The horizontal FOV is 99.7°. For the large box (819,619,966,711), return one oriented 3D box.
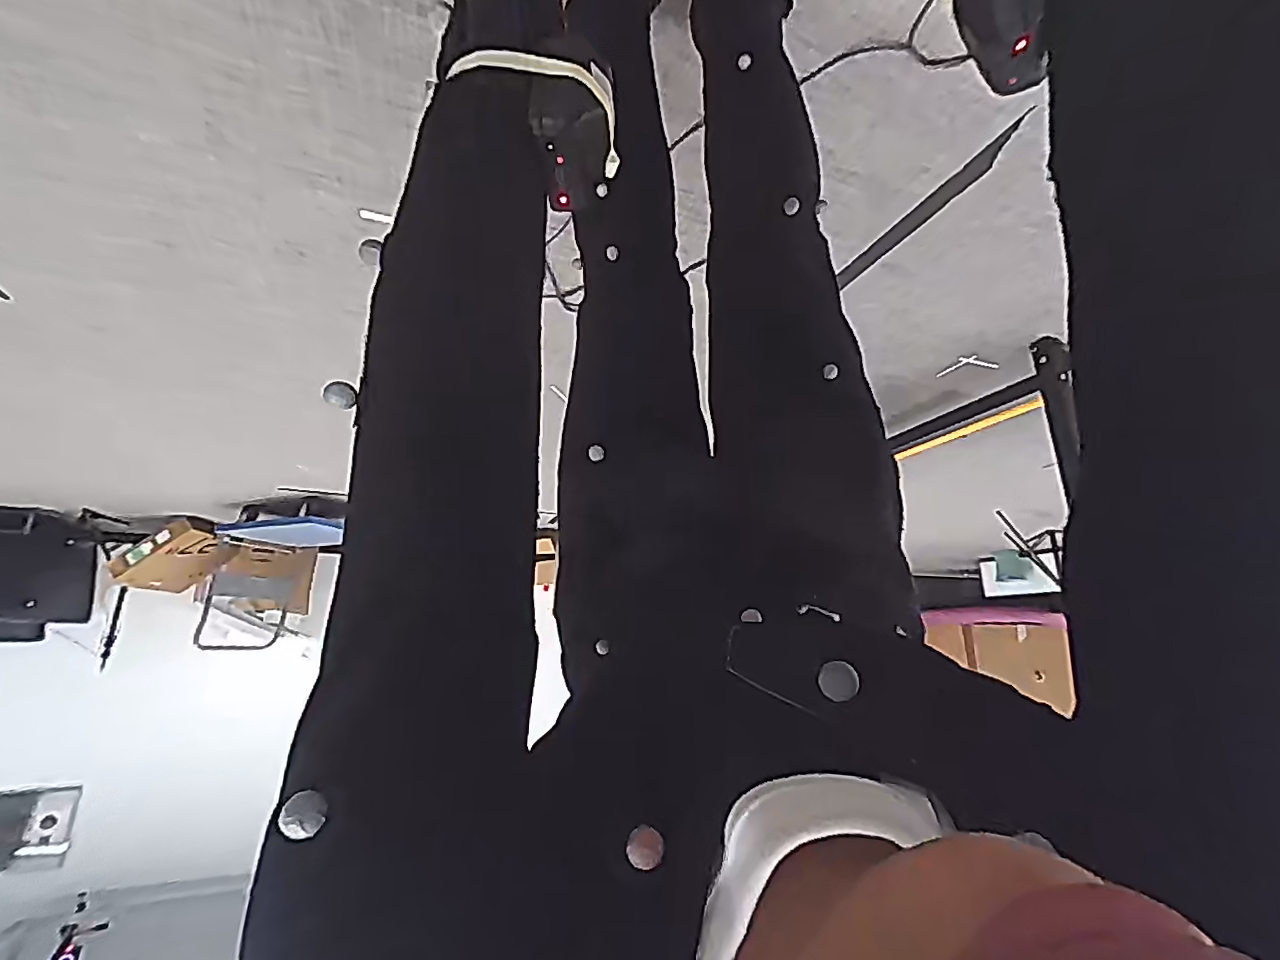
[{"bbox_3d":[0.974,0.714,2.122,0.408,0.320,0.320,4,164,-20],"label":"large box"}]
